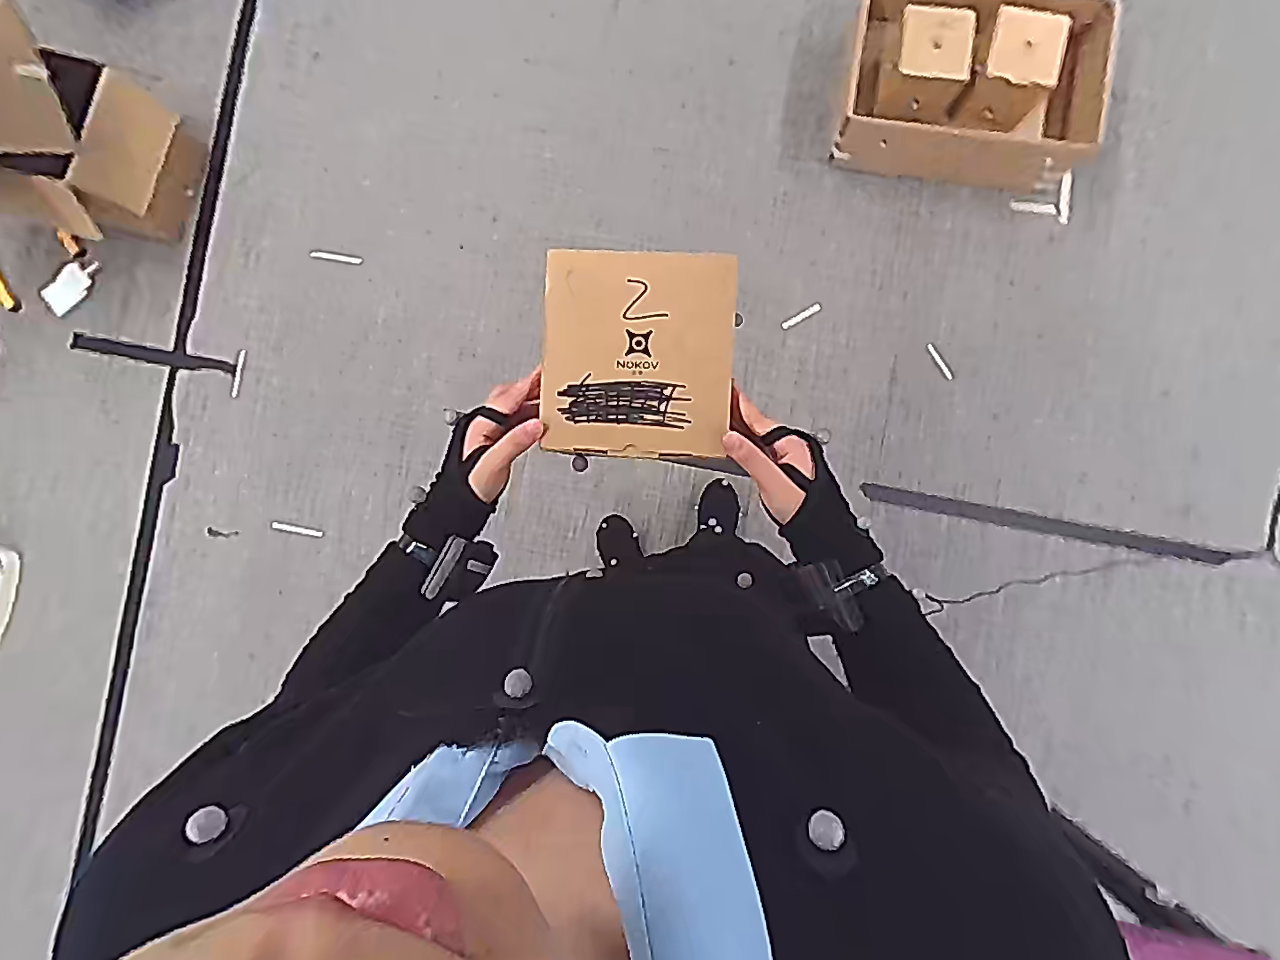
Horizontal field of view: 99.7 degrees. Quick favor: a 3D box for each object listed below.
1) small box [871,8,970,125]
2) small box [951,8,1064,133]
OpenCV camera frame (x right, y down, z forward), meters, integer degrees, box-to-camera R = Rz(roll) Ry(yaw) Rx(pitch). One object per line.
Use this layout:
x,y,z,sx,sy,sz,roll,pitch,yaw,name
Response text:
0.716,-1.058,1.397,0.168,0.176,0.179,7,88,1,small box
0.934,-1.045,1.390,0.168,0.176,0.179,14,89,4,small box
